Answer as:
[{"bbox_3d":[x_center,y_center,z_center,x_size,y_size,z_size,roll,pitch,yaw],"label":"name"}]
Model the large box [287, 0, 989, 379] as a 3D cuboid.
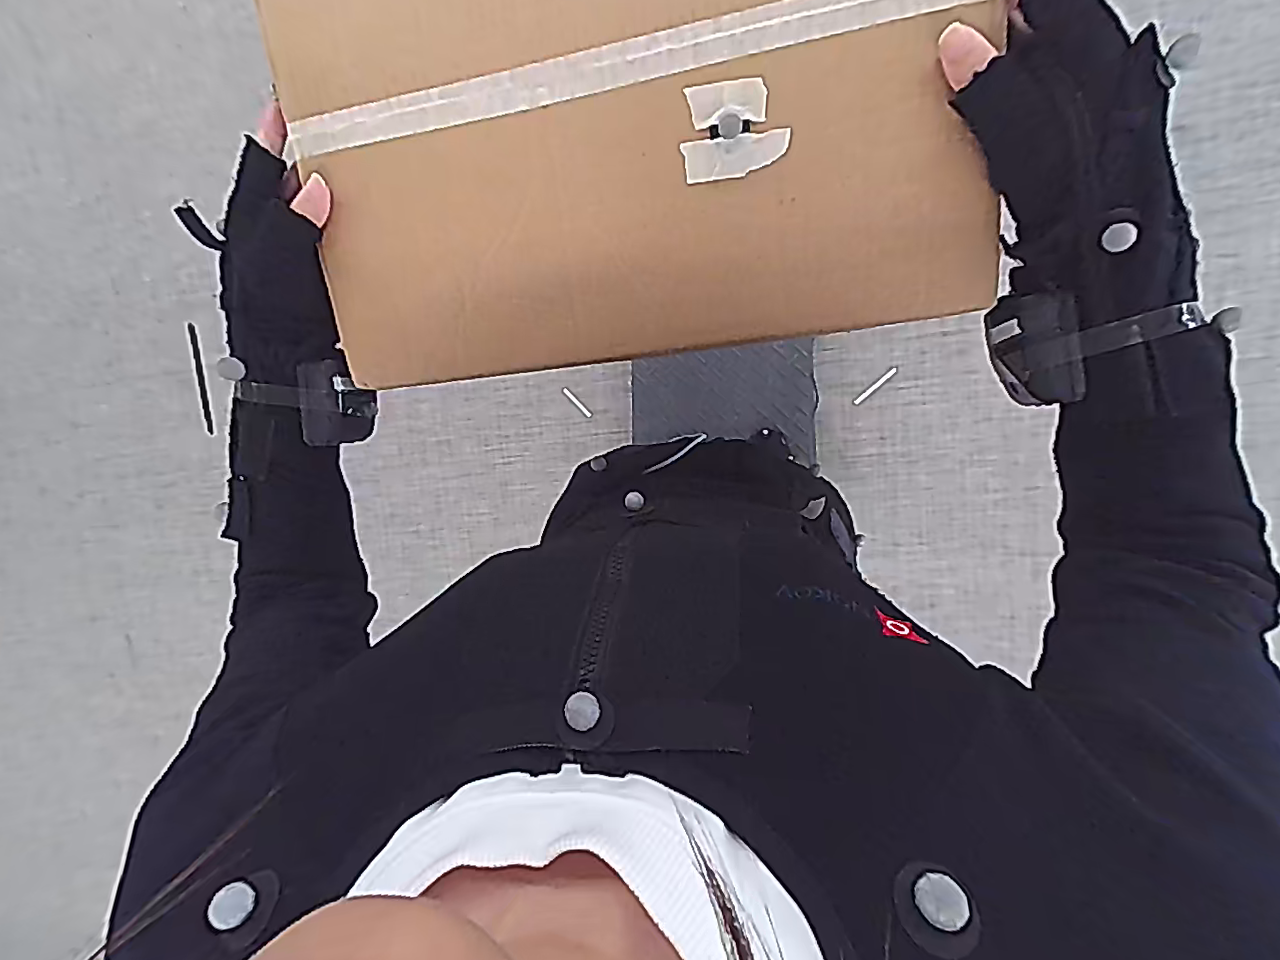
[{"bbox_3d":[0.007,-0.275,0.458,0.408,0.320,0.320,-5,104,10],"label":"large box"}]
